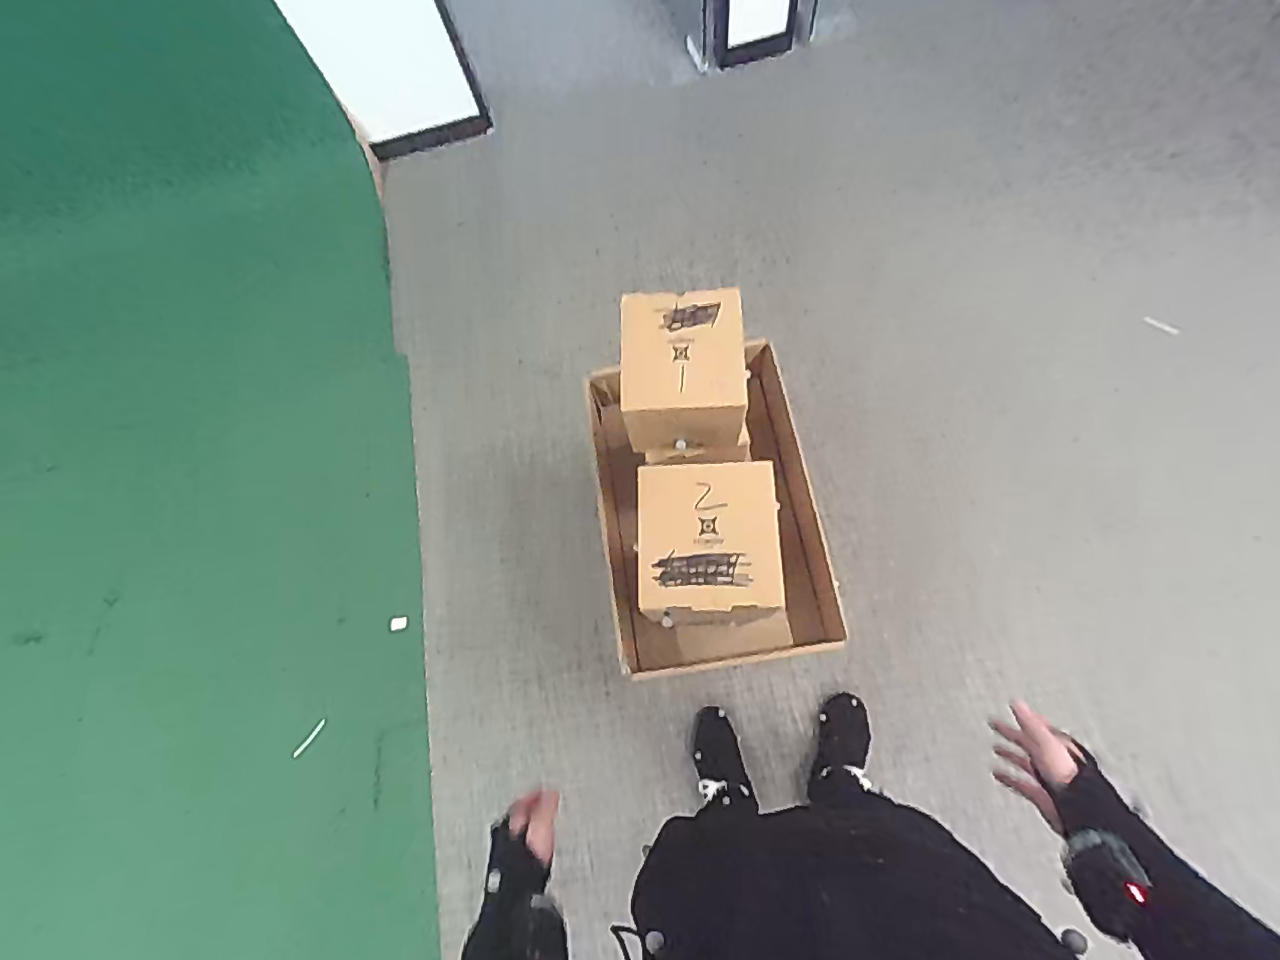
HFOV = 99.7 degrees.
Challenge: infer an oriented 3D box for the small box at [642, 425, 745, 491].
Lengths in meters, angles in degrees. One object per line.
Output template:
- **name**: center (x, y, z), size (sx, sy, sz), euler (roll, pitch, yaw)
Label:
- **small box**: center (0.079, -0.095, 0.956), size (0.168, 0.176, 0.179), euler (-11, 73, 2)

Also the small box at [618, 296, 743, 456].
- **small box**: center (0.059, -0.146, 0.801), size (0.168, 0.176, 0.179), euler (-2, 74, 5)

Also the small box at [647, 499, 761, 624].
- **small box**: center (0.104, 0.137, 0.872), size (0.168, 0.176, 0.179), euler (0, 70, 6)
